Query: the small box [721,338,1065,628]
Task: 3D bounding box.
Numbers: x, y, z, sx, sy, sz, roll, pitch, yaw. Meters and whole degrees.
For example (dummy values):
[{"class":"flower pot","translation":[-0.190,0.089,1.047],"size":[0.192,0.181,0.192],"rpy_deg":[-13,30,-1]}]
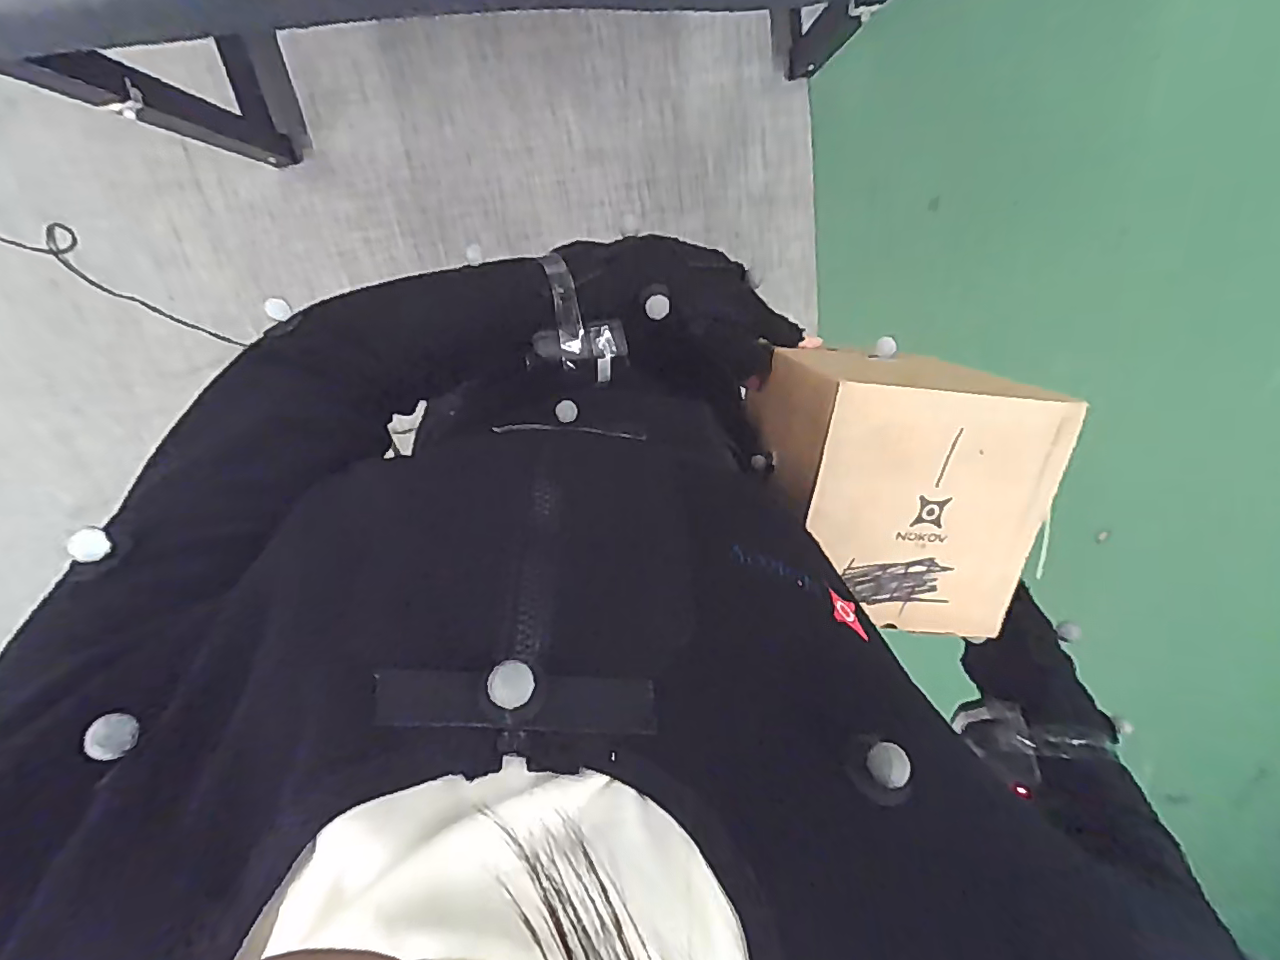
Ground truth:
[{"class":"small box","translation":[0.172,-0.007,0.435],"size":[0.168,0.176,0.179],"rpy_deg":[5,111,-8]}]
